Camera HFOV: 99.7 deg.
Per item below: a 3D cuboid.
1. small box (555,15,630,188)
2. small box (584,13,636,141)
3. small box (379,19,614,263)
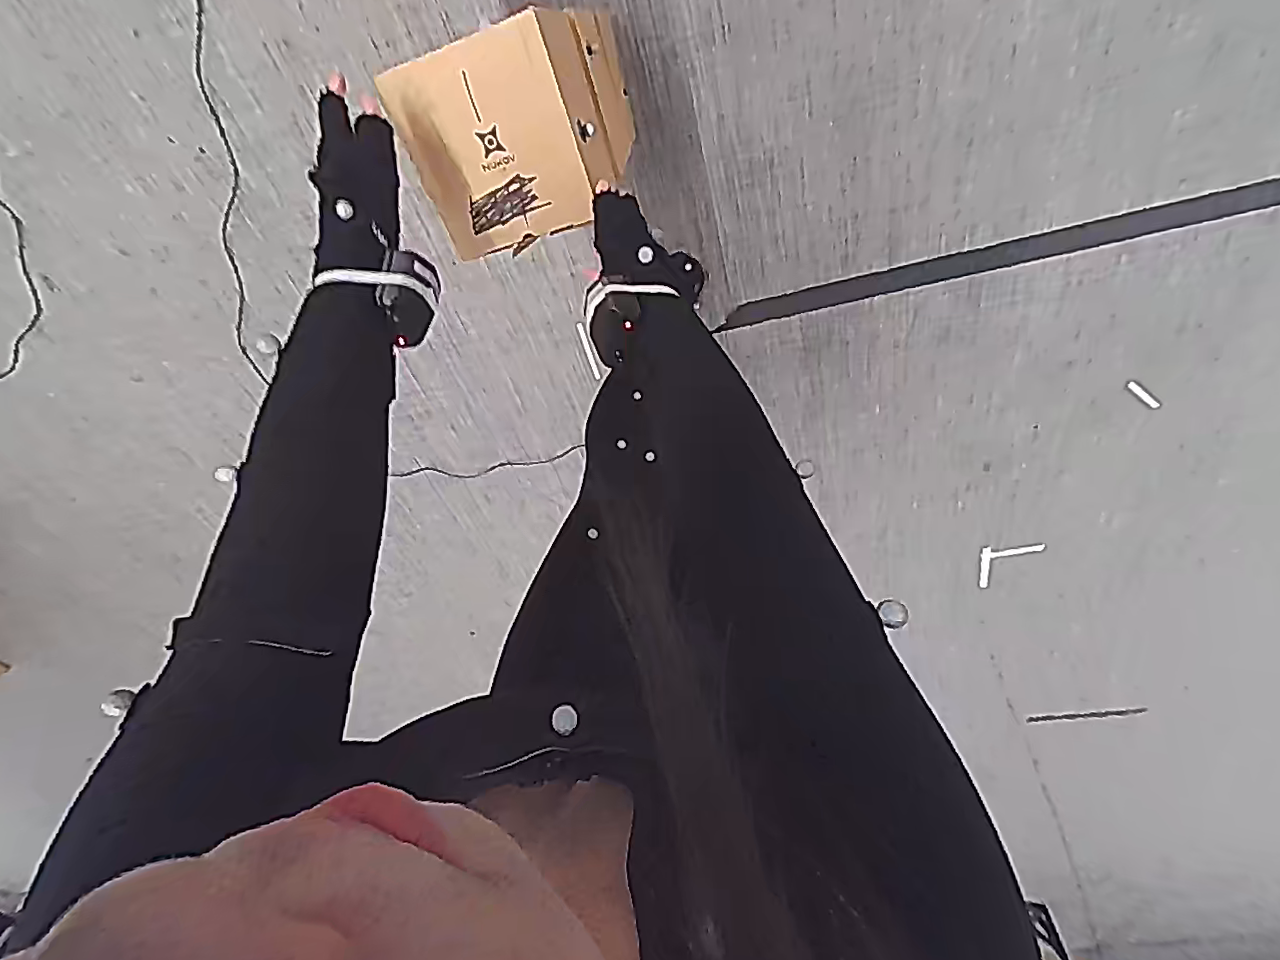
[{"bbox_3d":[-0.119,-0.478,0.714,0.168,0.176,0.179,-12,128,14],"label":"small box"},{"bbox_3d":[-0.112,-0.588,0.833,0.179,0.176,0.168,-9,129,11],"label":"small box"},{"bbox_3d":[-0.135,-0.370,0.591,0.168,0.176,0.179,-11,128,14],"label":"small box"}]
